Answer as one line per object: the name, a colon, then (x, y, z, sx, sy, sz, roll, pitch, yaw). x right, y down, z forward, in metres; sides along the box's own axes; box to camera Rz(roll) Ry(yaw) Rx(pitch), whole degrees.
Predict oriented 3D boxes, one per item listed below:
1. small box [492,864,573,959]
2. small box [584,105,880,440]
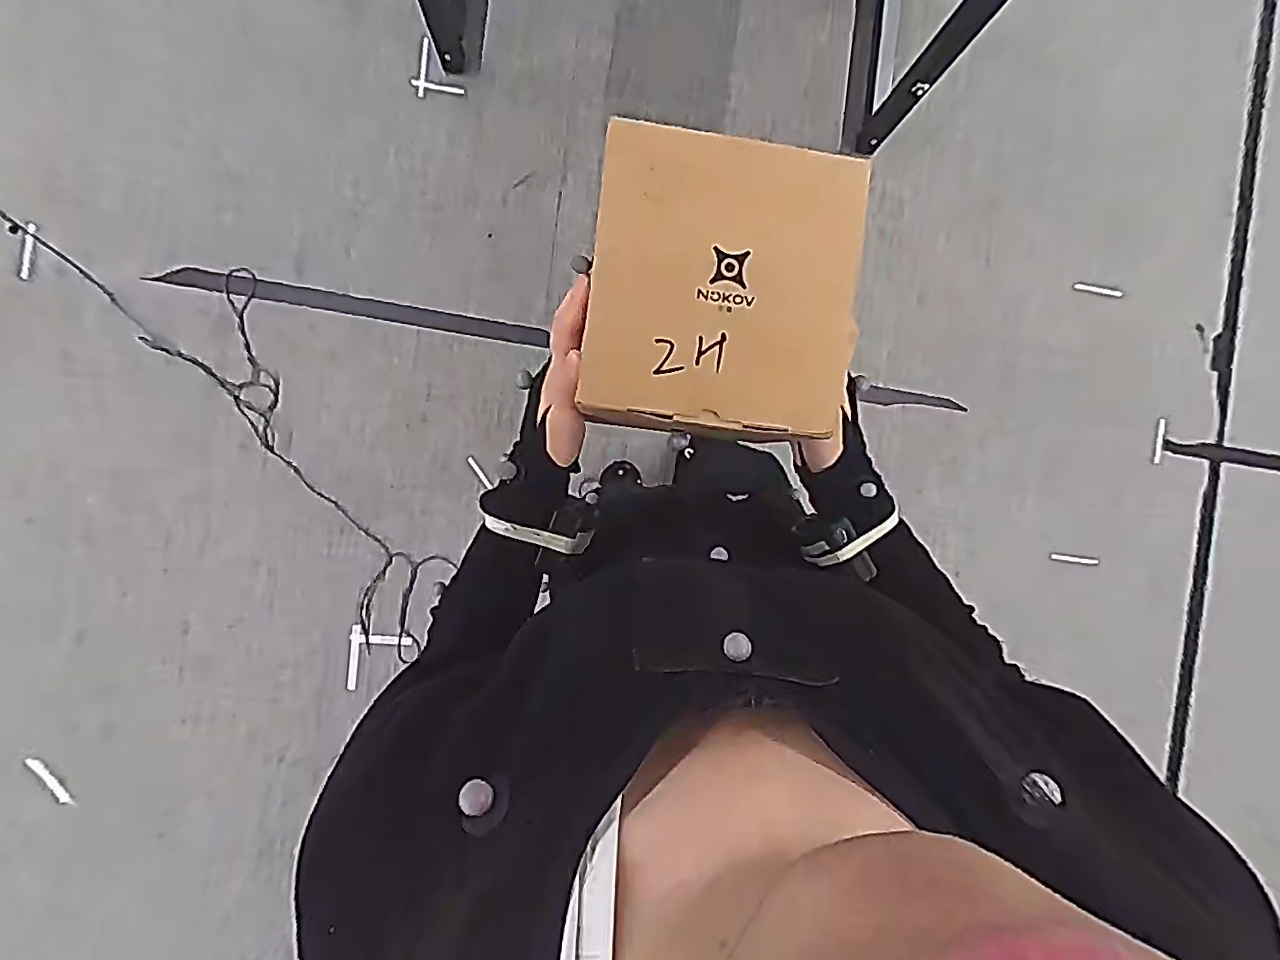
small box: (-0.271, 1.128, 1.388, 0.179, 0.176, 0.168, 9, 90, -7)
small box: (0.050, -0.128, 0.404, 0.168, 0.176, 0.179, 7, 92, -4)
